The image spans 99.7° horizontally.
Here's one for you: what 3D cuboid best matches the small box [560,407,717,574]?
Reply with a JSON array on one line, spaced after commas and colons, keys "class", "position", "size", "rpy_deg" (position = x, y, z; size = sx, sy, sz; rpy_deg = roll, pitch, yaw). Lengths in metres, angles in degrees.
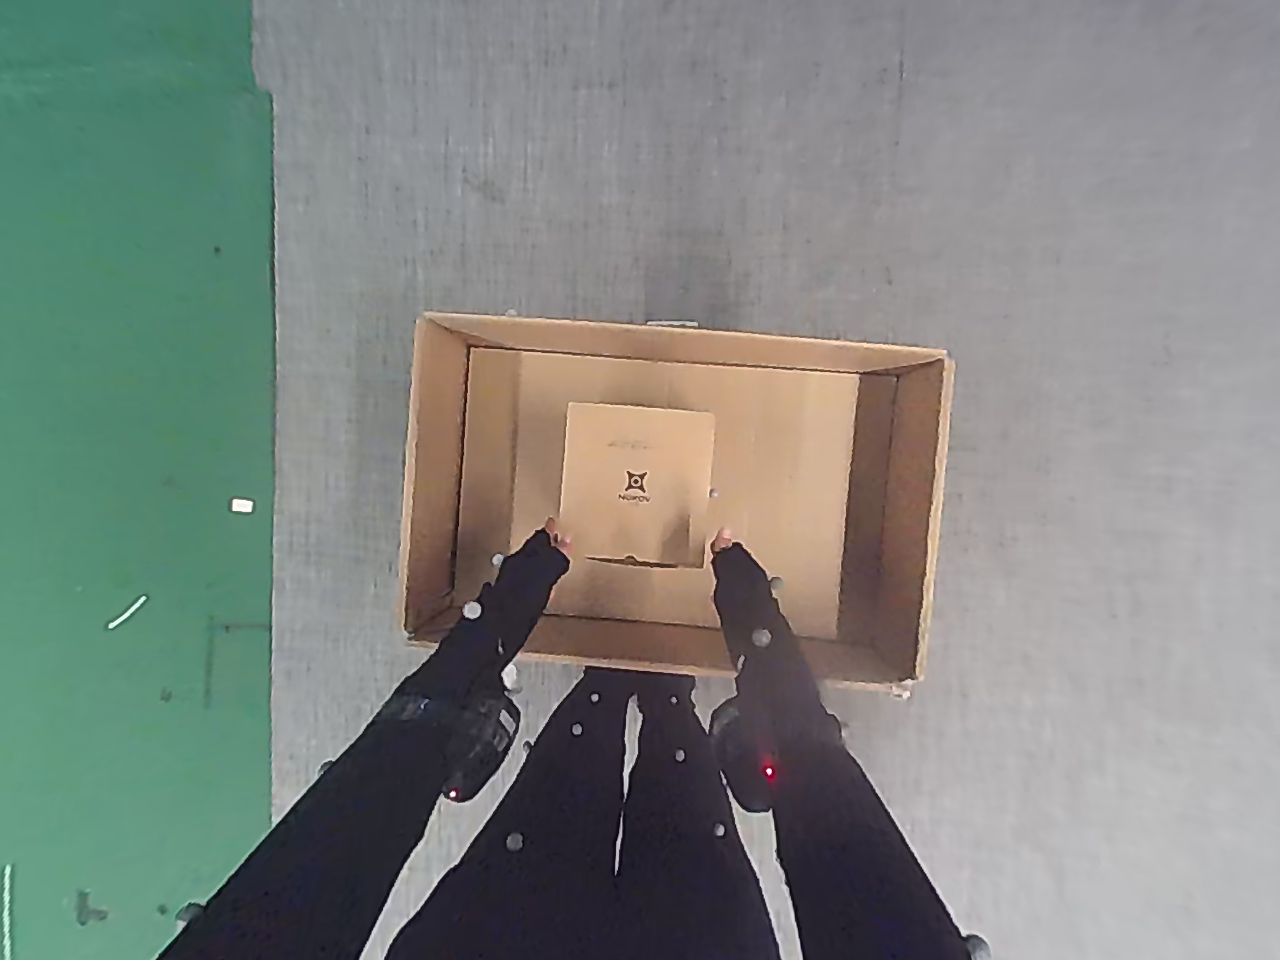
[{"class": "small box", "position": [-0.001, 0.011, 0.676], "size": [0.168, 0.176, 0.179], "rpy_deg": [4, 90, 0]}]
